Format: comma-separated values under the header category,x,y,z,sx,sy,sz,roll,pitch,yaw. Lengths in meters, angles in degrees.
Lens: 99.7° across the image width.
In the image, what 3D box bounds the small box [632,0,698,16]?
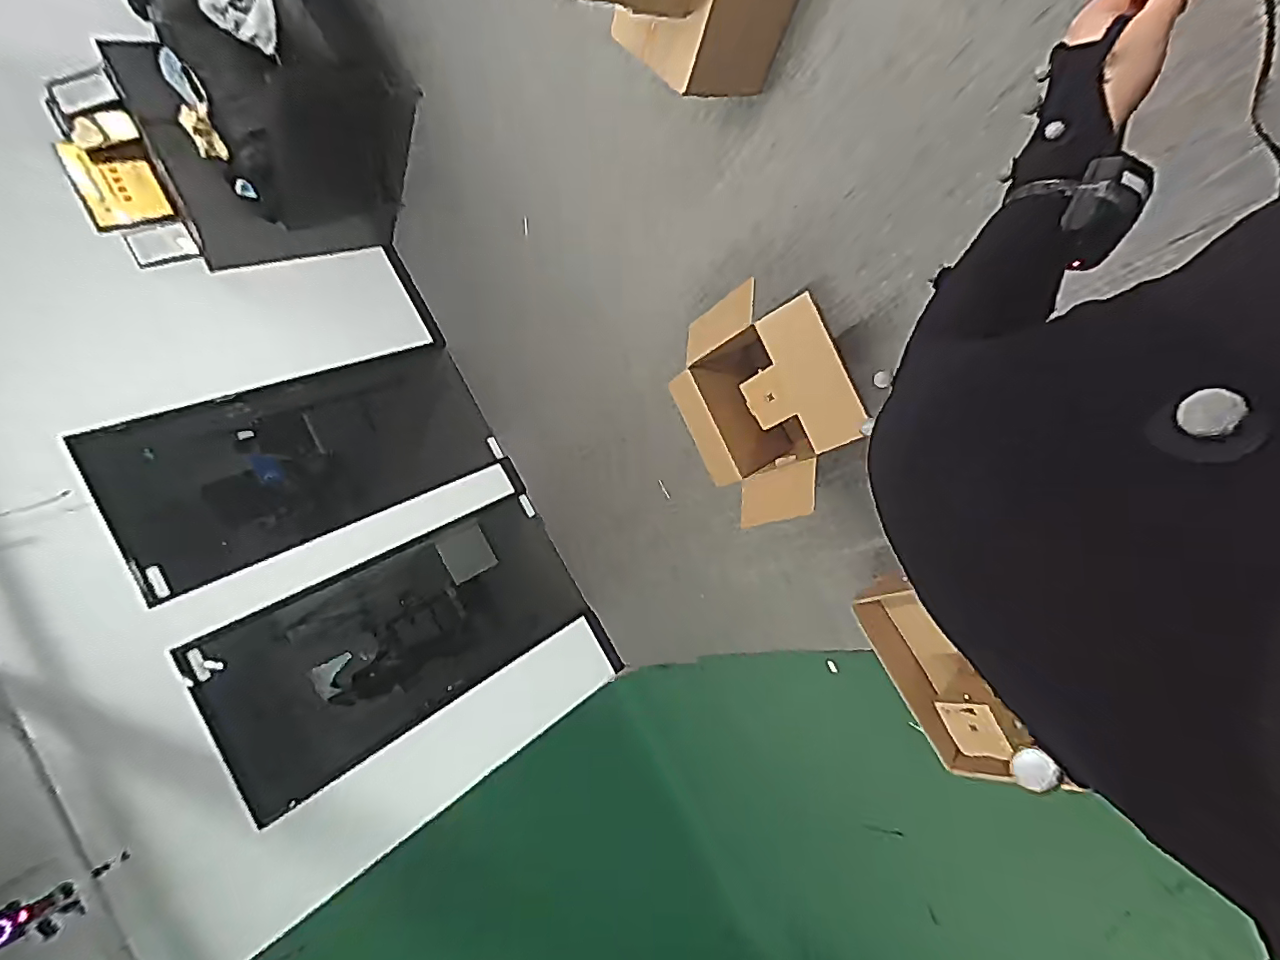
category,x,y,z,sx,sy,sz,roll,pitch,yaw
small box,0.043,-1.153,1.176,0.168,0.176,0.179,50,144,17

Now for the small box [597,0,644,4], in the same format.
category,x,y,z,sx,sy,sz,roll,pitch,yaw
small box,-0.072,-1.097,1.076,0.168,0.176,0.179,50,145,16

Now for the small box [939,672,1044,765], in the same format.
category,x,y,z,sx,sy,sz,roll,pitch,yaw
small box,1.020,0.681,1.564,0.179,0.176,0.168,62,148,4
